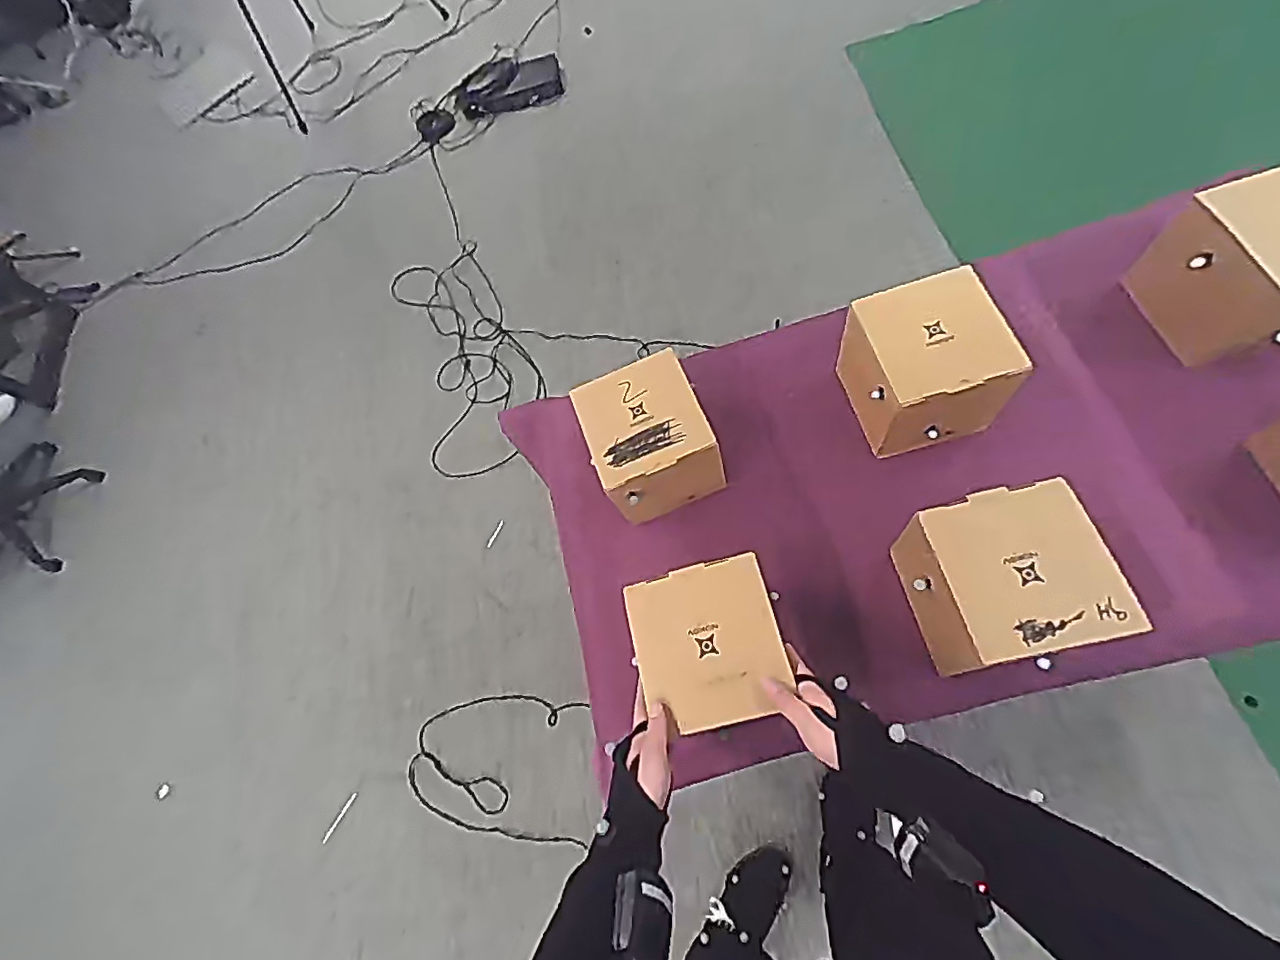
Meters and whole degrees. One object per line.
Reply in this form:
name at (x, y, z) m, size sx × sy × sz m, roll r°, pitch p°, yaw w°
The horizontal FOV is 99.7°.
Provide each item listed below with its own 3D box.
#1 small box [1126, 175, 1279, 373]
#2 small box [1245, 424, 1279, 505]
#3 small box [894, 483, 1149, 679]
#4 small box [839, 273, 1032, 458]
small box at (0.825, -0.275, 0.729) m, size 0.168 × 0.176 × 0.179 m, roll -15°, pitch 66°, yaw 8°
small box at (0.878, -0.015, 0.609) m, size 0.168 × 0.176 × 0.179 m, roll -12°, pitch 64°, yaw 9°
small box at (0.431, 0.130, 0.653) m, size 0.168 × 0.176 × 0.179 m, roll -15°, pitch 64°, yaw 7°
small box at (0.404, -0.156, 0.779) m, size 0.168 × 0.176 × 0.179 m, roll -16°, pitch 67°, yaw 6°
